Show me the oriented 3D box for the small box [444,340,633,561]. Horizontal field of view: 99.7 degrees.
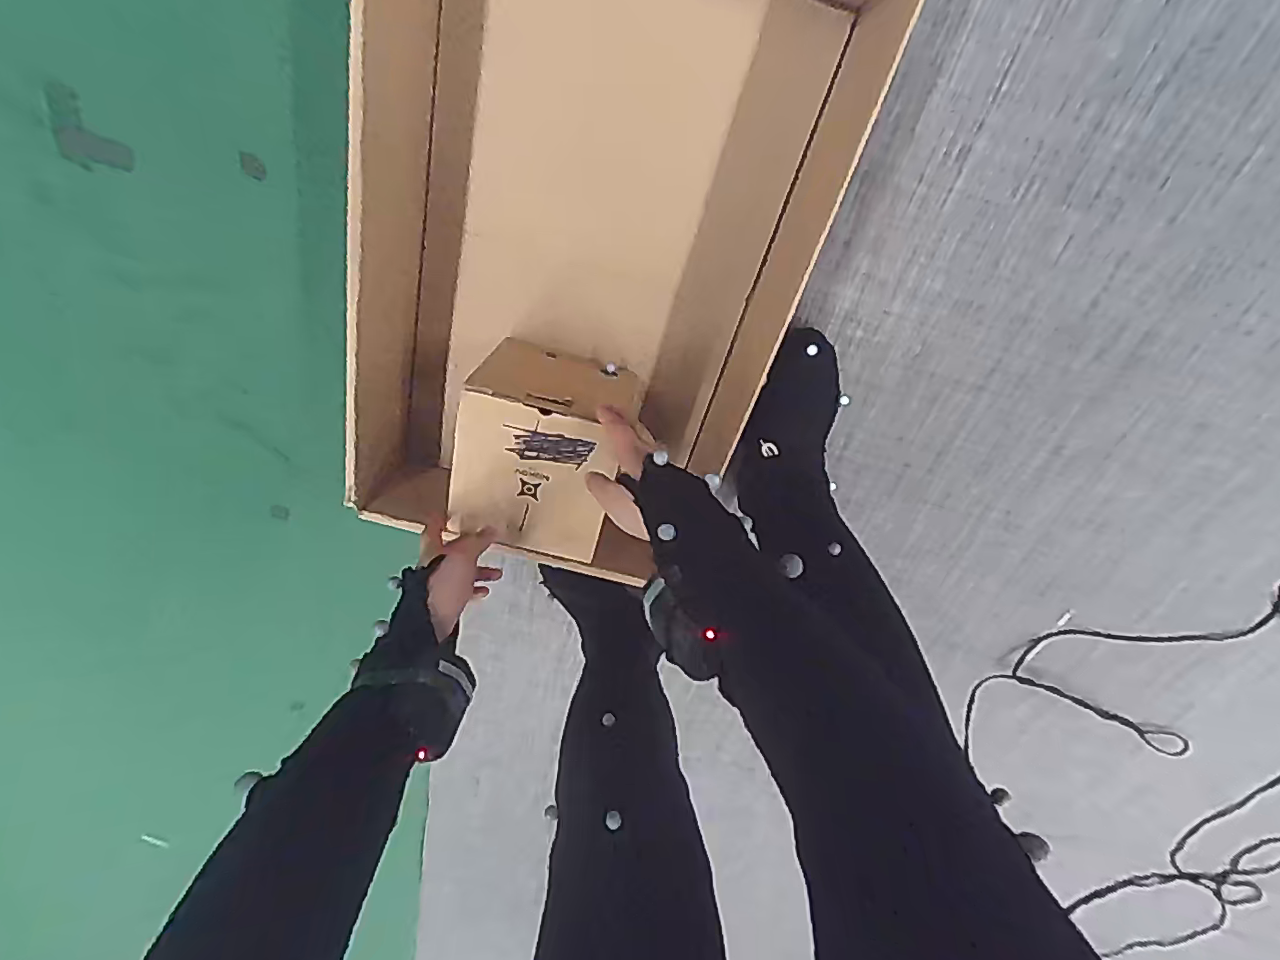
[{"bbox_3d":[-0.107,-0.041,0.615,0.168,0.176,0.179,14,120,-6],"label":"small box"}]
